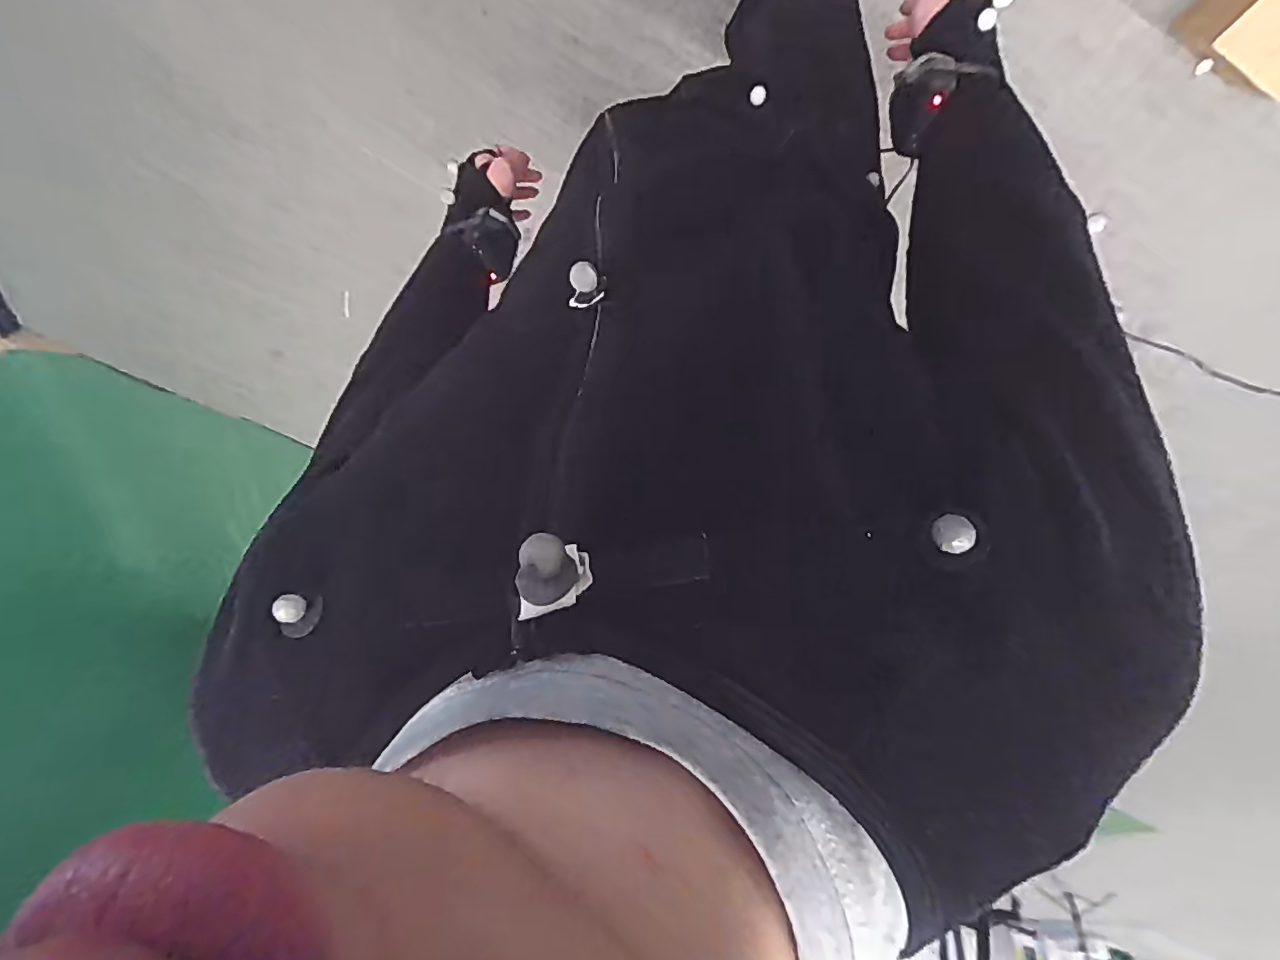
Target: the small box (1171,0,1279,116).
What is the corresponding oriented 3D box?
[{"bbox_3d":[1.012,-0.725,0.849,0.168,0.176,0.179,29,137,-8],"label":"small box"}]
